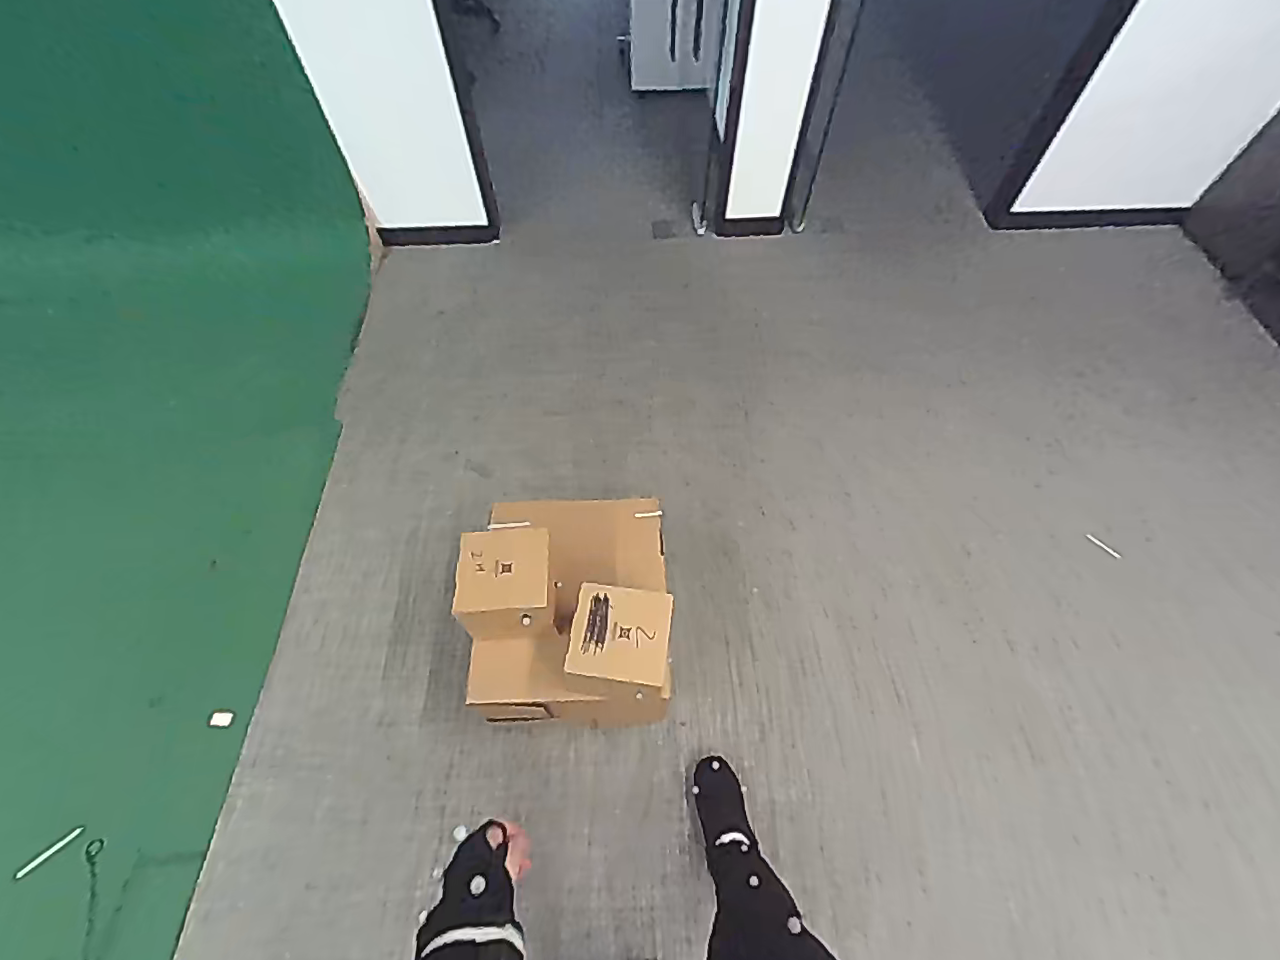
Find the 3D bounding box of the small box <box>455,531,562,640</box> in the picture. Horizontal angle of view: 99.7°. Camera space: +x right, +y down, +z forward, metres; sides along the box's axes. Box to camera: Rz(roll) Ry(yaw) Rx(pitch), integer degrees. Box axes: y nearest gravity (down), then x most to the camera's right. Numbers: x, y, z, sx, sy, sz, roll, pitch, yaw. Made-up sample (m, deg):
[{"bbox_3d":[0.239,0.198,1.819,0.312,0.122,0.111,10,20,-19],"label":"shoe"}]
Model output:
[{"bbox_3d":[-0.253,0.216,1.090,0.179,0.176,0.168,-3,56,-1],"label":"small box"}]
